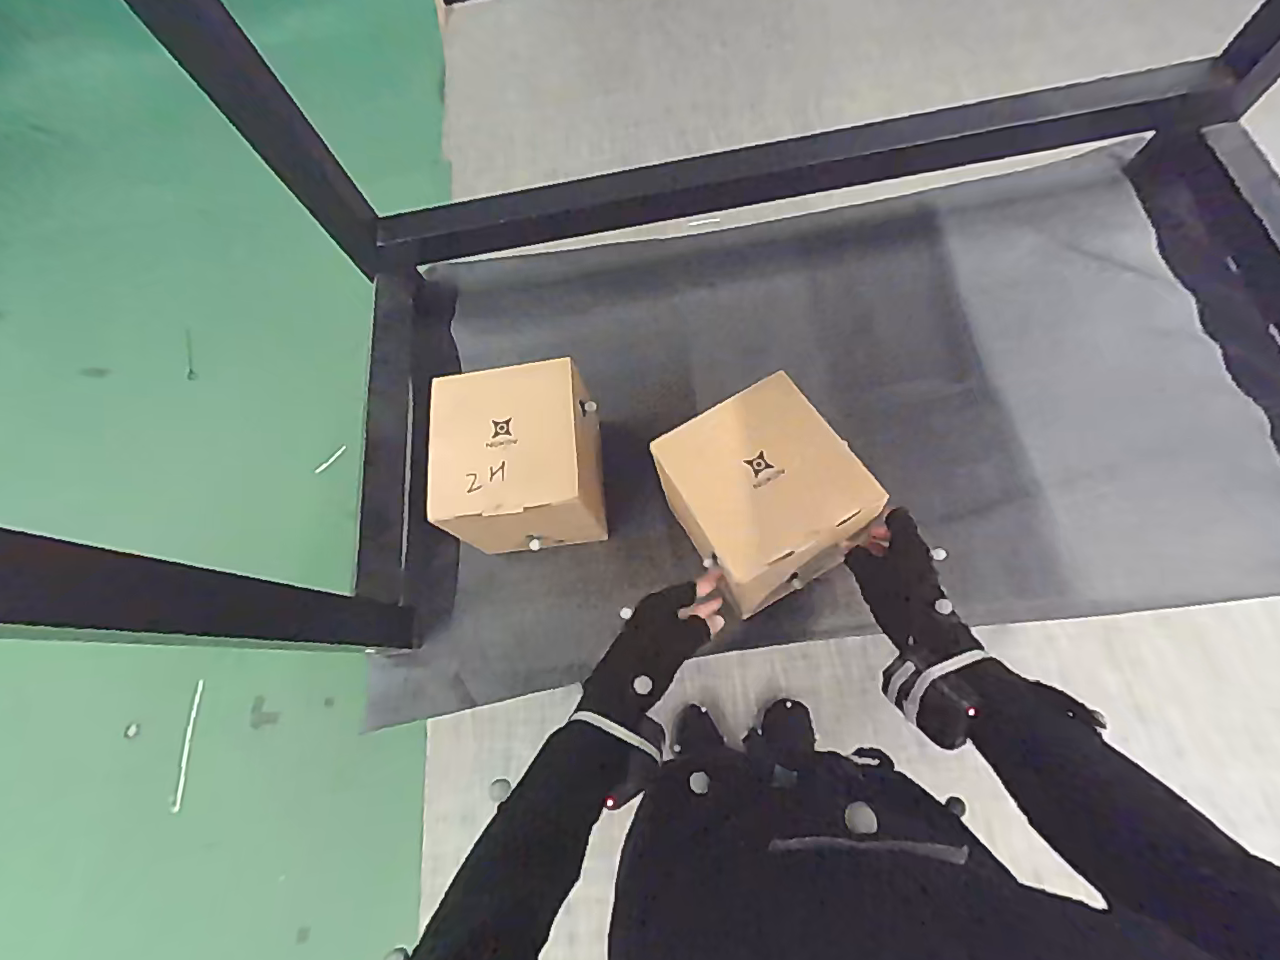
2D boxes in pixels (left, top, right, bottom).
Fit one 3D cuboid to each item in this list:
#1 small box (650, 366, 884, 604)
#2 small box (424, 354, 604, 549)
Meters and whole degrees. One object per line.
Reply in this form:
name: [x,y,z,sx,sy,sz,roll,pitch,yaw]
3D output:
small box: [0.131,0.015,0.606,0.168,0.176,0.179,-32,65,-4]
small box: [-0.143,-0.026,0.663,0.168,0.176,0.179,-8,69,5]
